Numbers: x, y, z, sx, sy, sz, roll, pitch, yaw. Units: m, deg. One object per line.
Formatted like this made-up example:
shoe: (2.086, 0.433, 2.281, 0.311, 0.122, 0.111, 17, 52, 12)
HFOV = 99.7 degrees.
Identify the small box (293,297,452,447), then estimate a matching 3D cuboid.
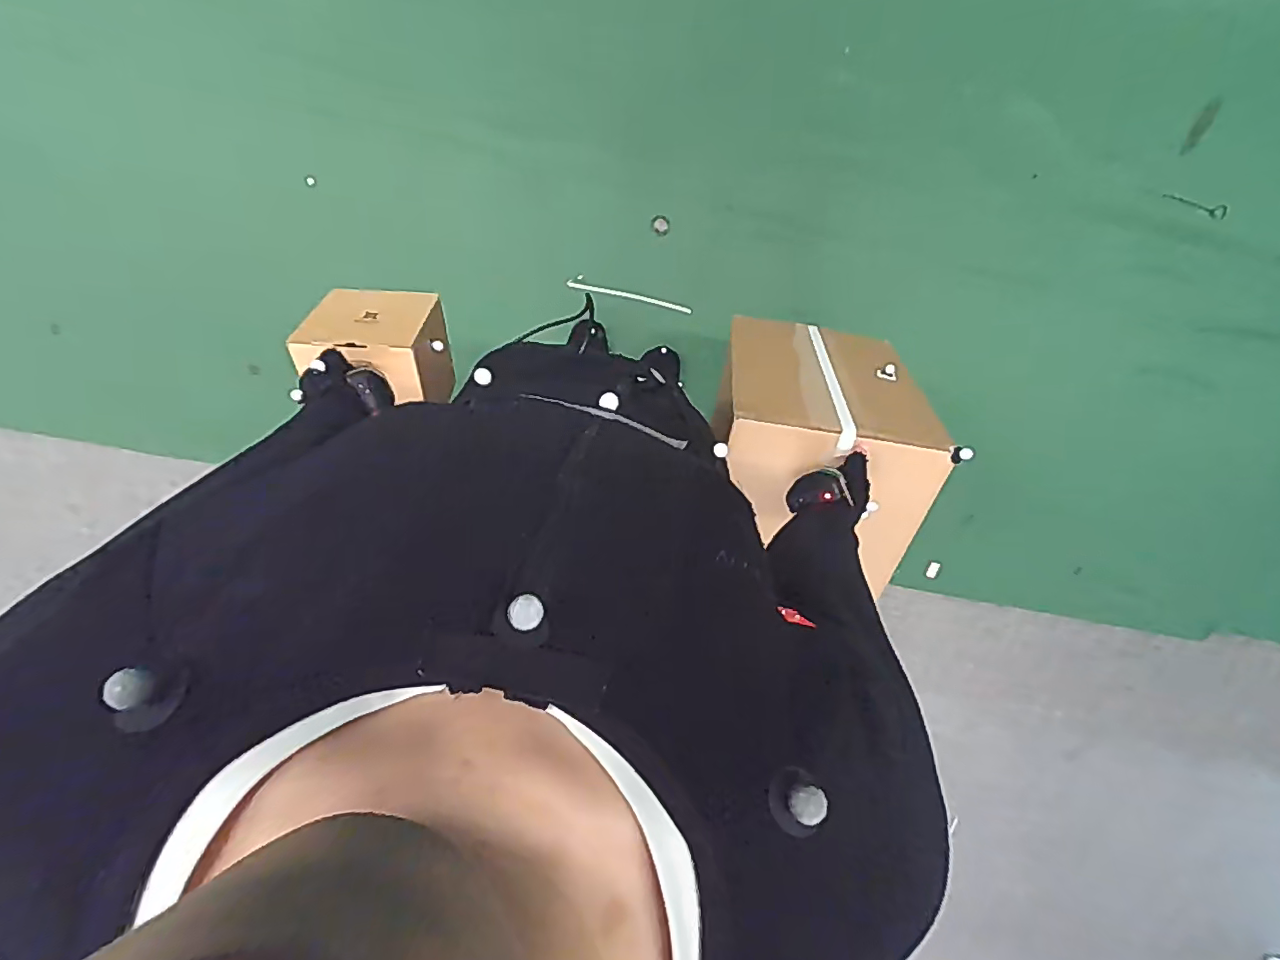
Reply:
small box: (-0.405, -0.172, 0.858, 0.168, 0.179, 0.176, 1, 132, -5)
